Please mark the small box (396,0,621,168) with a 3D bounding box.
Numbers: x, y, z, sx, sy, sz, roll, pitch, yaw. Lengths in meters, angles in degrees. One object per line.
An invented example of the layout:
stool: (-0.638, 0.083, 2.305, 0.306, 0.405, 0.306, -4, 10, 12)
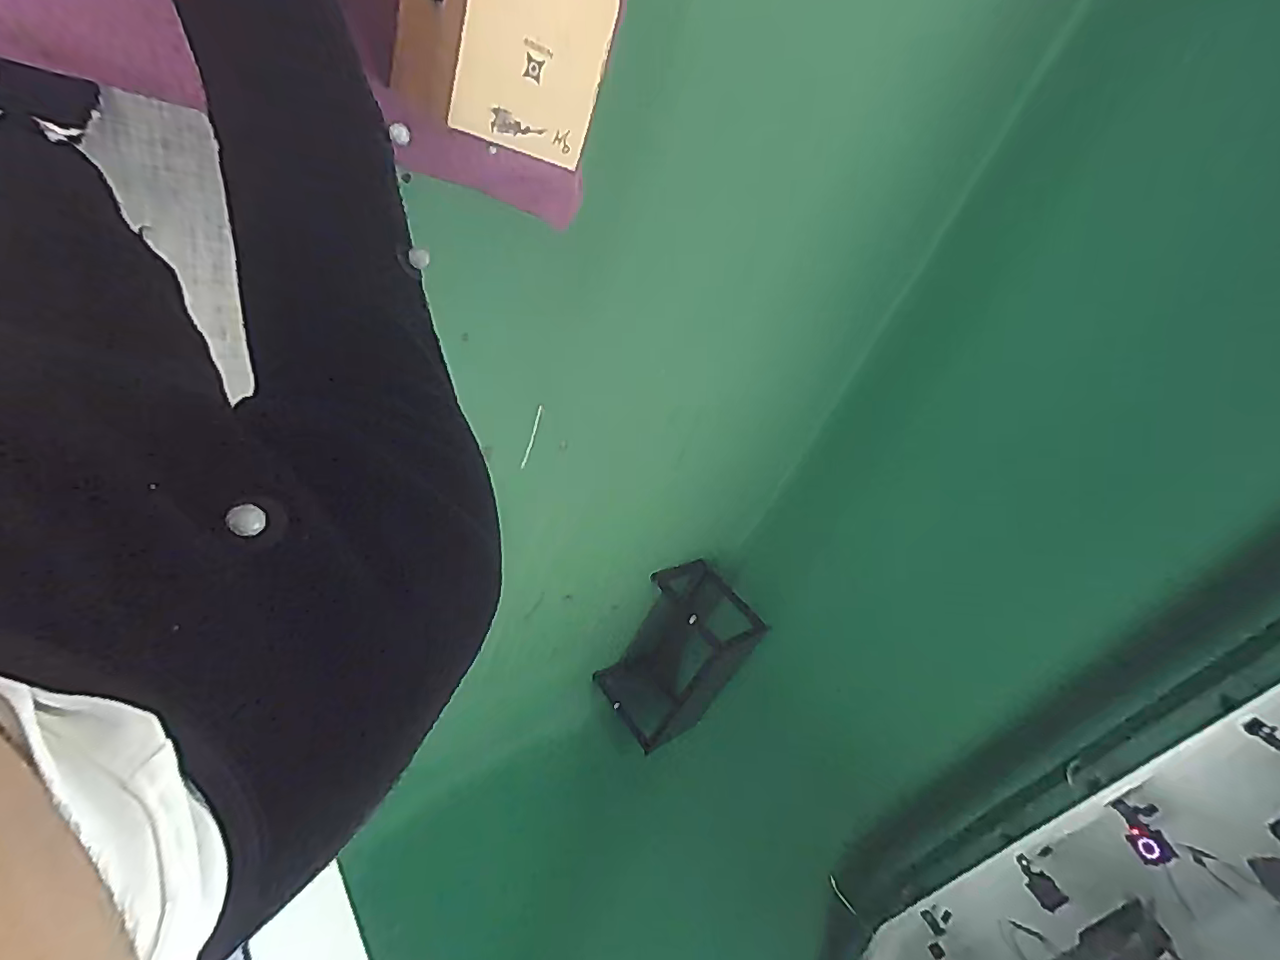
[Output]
small box: (-0.154, -0.488, 0.605, 0.168, 0.176, 0.179, -8, 131, -44)
